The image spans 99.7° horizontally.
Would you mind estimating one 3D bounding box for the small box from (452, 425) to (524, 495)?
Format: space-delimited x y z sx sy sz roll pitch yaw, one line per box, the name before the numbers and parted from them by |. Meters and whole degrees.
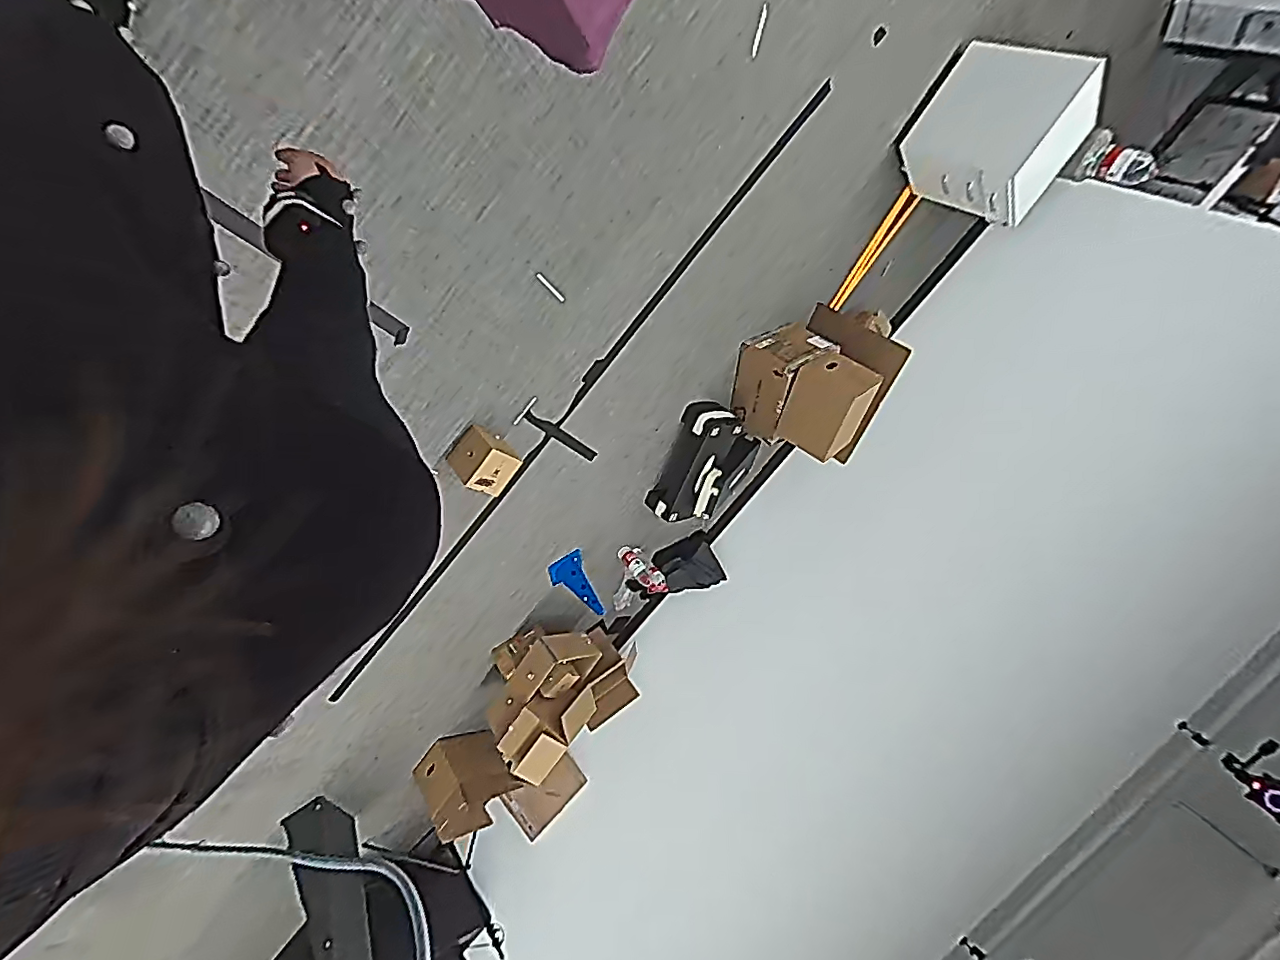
small box | -0.582 -0.077 2.045 0.179 0.176 0.168 -51 147 7
